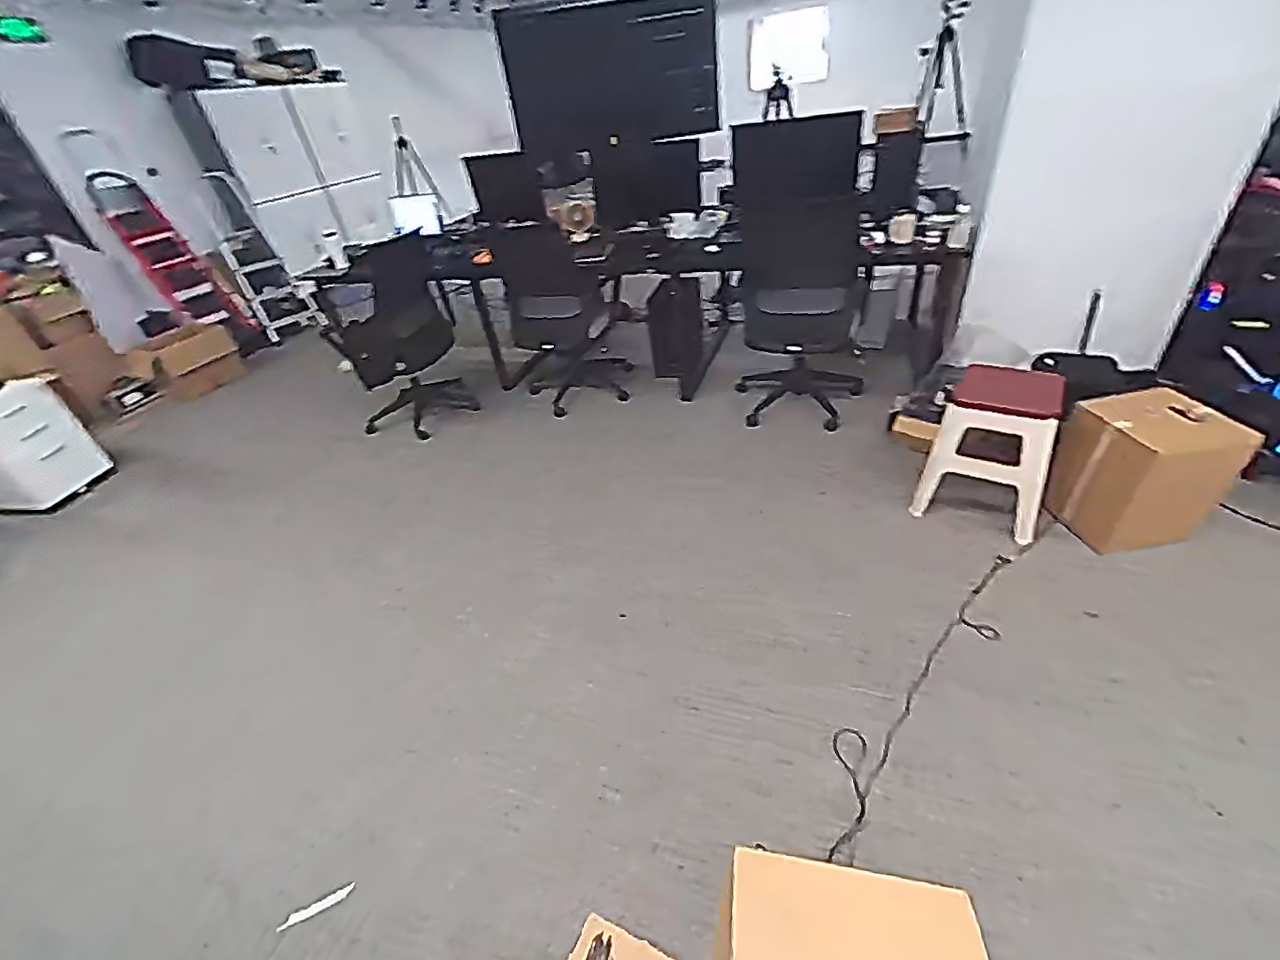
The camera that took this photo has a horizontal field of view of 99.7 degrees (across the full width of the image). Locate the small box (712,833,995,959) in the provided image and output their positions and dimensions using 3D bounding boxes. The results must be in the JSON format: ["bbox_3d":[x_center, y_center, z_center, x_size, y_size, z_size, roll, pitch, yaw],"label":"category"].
[{"bbox_3d":[0.133,0.383,0.360,0.168,0.176,0.179,6,33,8],"label":"small box"}]
